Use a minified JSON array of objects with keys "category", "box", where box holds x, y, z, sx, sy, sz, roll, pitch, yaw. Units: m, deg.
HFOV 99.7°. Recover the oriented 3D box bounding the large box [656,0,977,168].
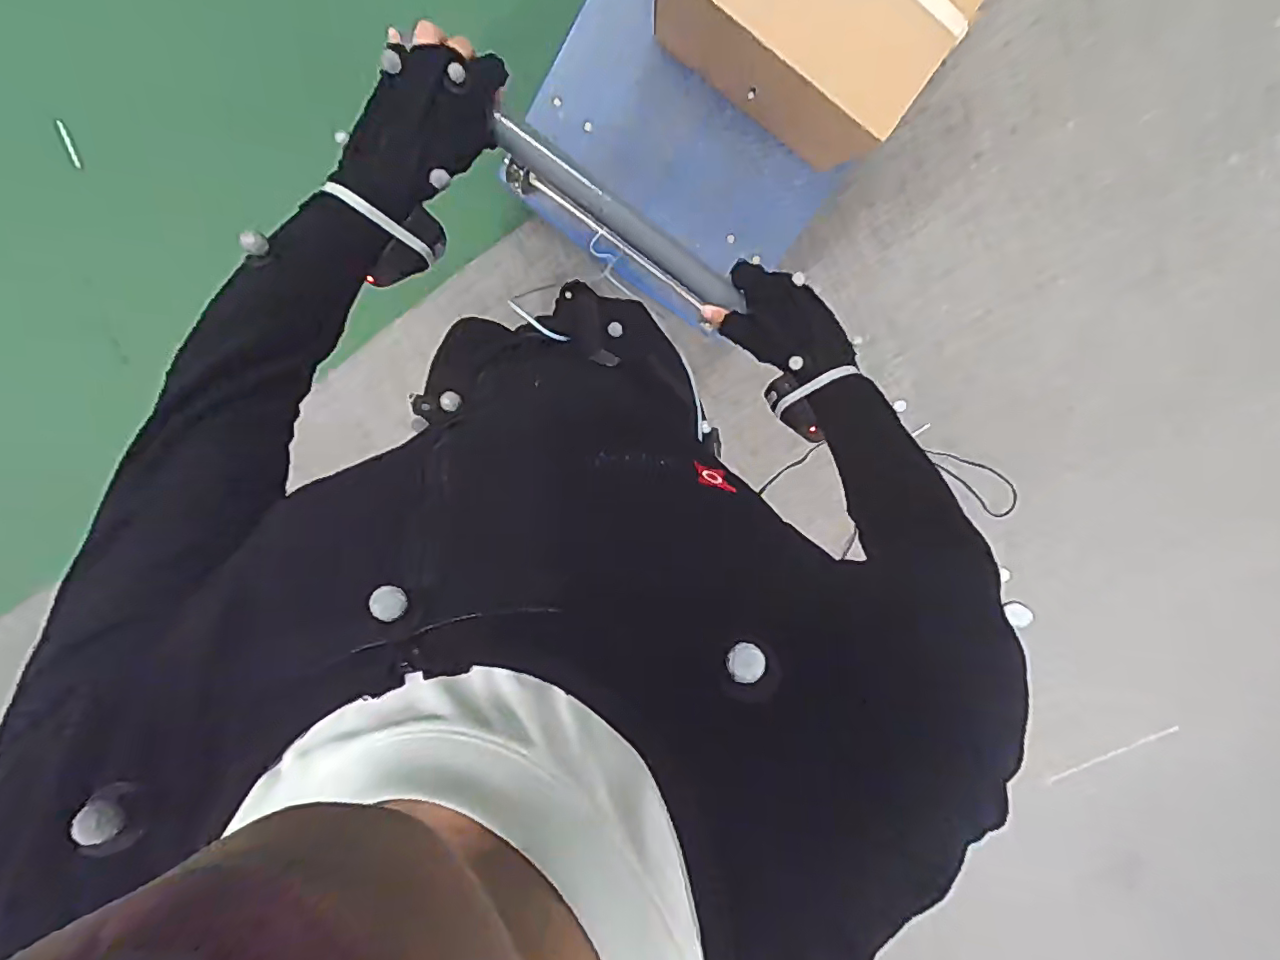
[{"category":"large box","box":[0.273,-0.772,0.853,0.408,0.320,0.320,32,109,-11]}]
